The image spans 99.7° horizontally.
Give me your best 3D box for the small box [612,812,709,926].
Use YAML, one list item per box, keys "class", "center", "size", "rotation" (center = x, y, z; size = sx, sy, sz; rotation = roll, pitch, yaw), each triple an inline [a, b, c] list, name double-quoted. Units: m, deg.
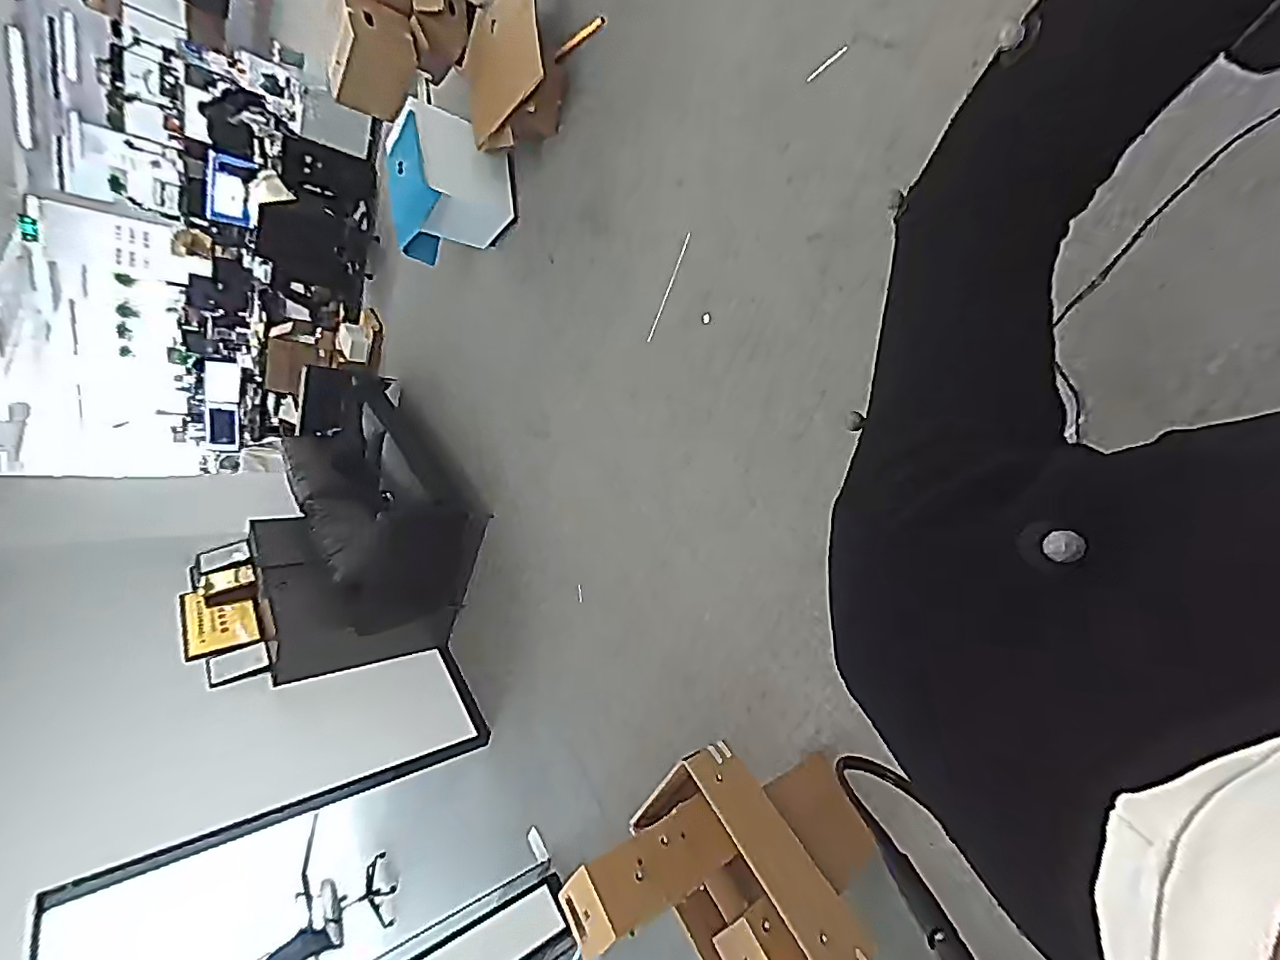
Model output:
- class: "small box"
  center: [0.061, 1.038, 1.456]
  size: [0.168, 0.176, 0.179]
  rotation: [50, 125, 36]
